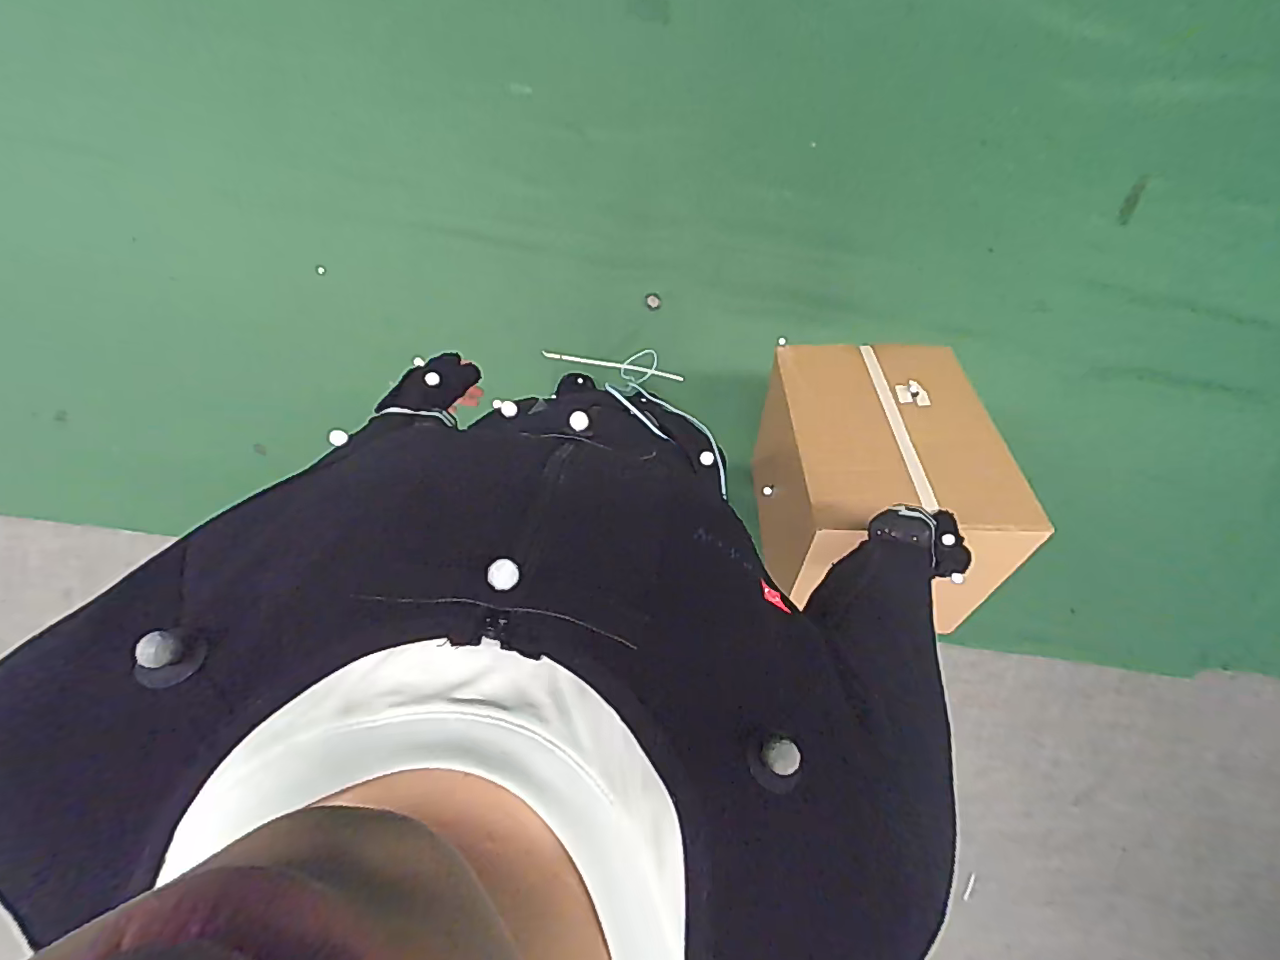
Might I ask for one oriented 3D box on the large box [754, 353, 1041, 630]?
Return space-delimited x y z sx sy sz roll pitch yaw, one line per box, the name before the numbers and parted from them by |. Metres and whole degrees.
large box | 0.398 0.020 0.973 0.320 0.408 0.320 1 139 1
